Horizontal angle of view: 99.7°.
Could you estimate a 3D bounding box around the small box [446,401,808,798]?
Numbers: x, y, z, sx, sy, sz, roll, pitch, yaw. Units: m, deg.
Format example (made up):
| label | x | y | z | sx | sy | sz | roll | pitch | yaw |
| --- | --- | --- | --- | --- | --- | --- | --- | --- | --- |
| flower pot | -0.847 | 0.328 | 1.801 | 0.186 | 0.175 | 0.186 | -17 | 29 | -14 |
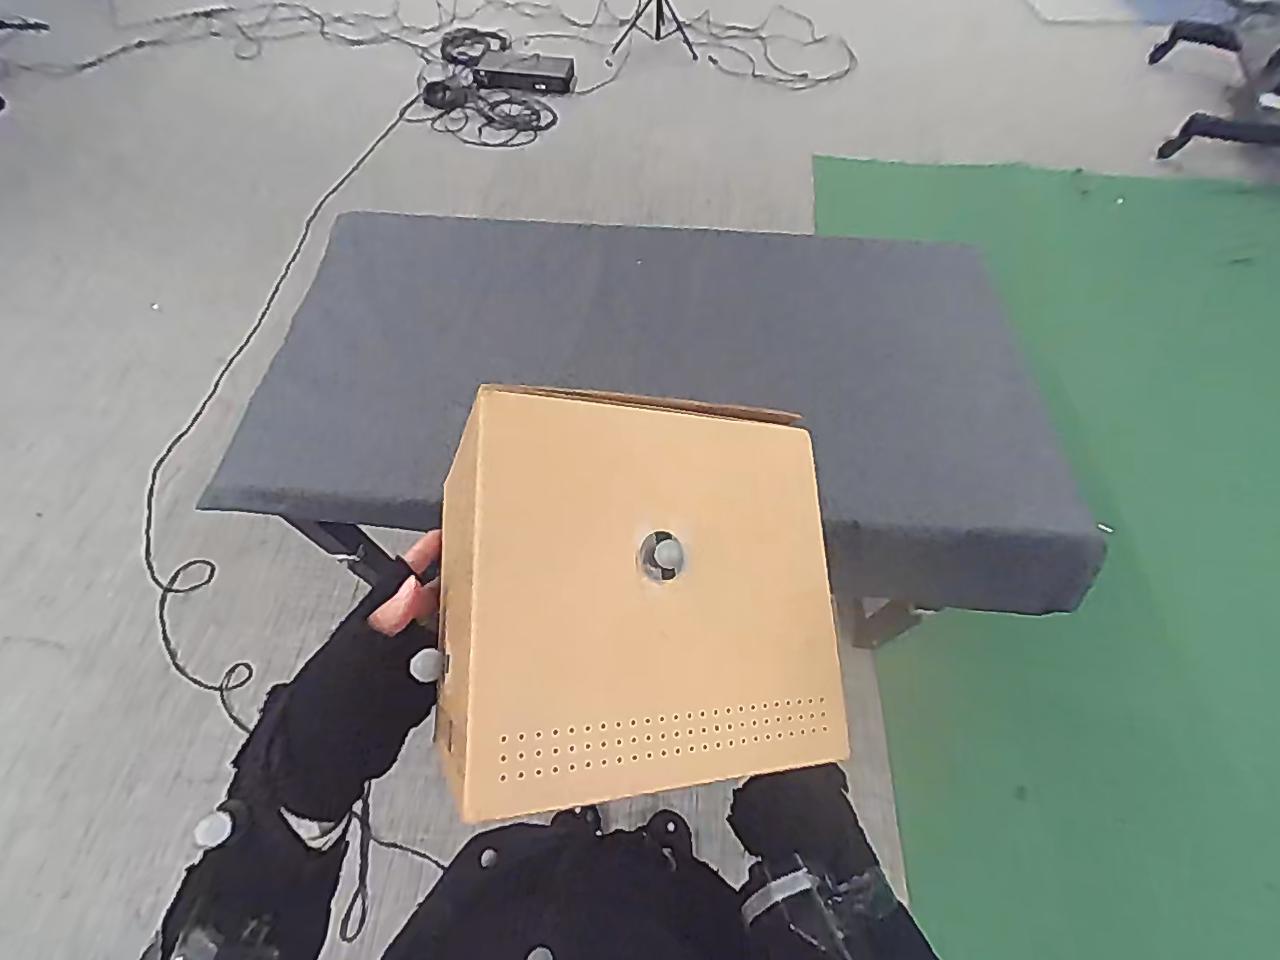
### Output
| label | x | y | z | sx | sy | sz | roll | pitch | yaw |
| --- | --- | --- | --- | --- | --- | --- | --- | --- | --- |
| small box | -0.017 | 0.068 | 0.327 | 0.179 | 0.168 | 0.176 | 3 | 73 | -23 |
